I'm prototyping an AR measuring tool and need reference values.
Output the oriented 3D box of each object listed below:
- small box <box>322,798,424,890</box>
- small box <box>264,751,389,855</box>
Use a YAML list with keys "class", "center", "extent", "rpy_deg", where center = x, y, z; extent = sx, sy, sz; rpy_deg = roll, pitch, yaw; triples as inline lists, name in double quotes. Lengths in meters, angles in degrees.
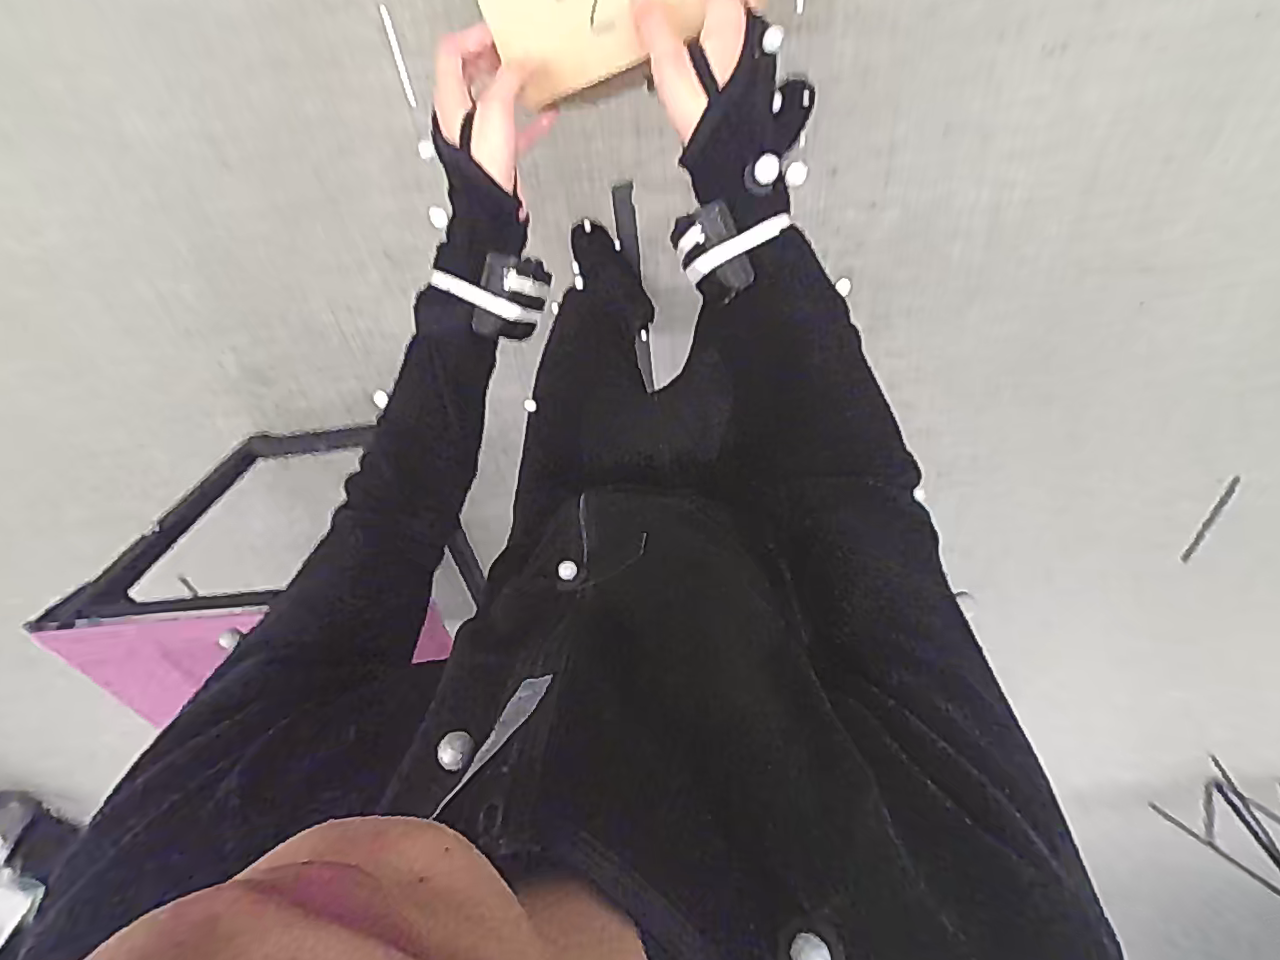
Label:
- class: "small box"
  center: [-0.722, 1.001, 1.493]
  extent: [0.179, 0.176, 0.168]
  rpy_deg: [-12, 125, 10]
- class: "small box"
  center: [-0.765, 0.801, 1.344]
  extent: [0.179, 0.176, 0.168]
  rpy_deg: [-13, 127, 11]
